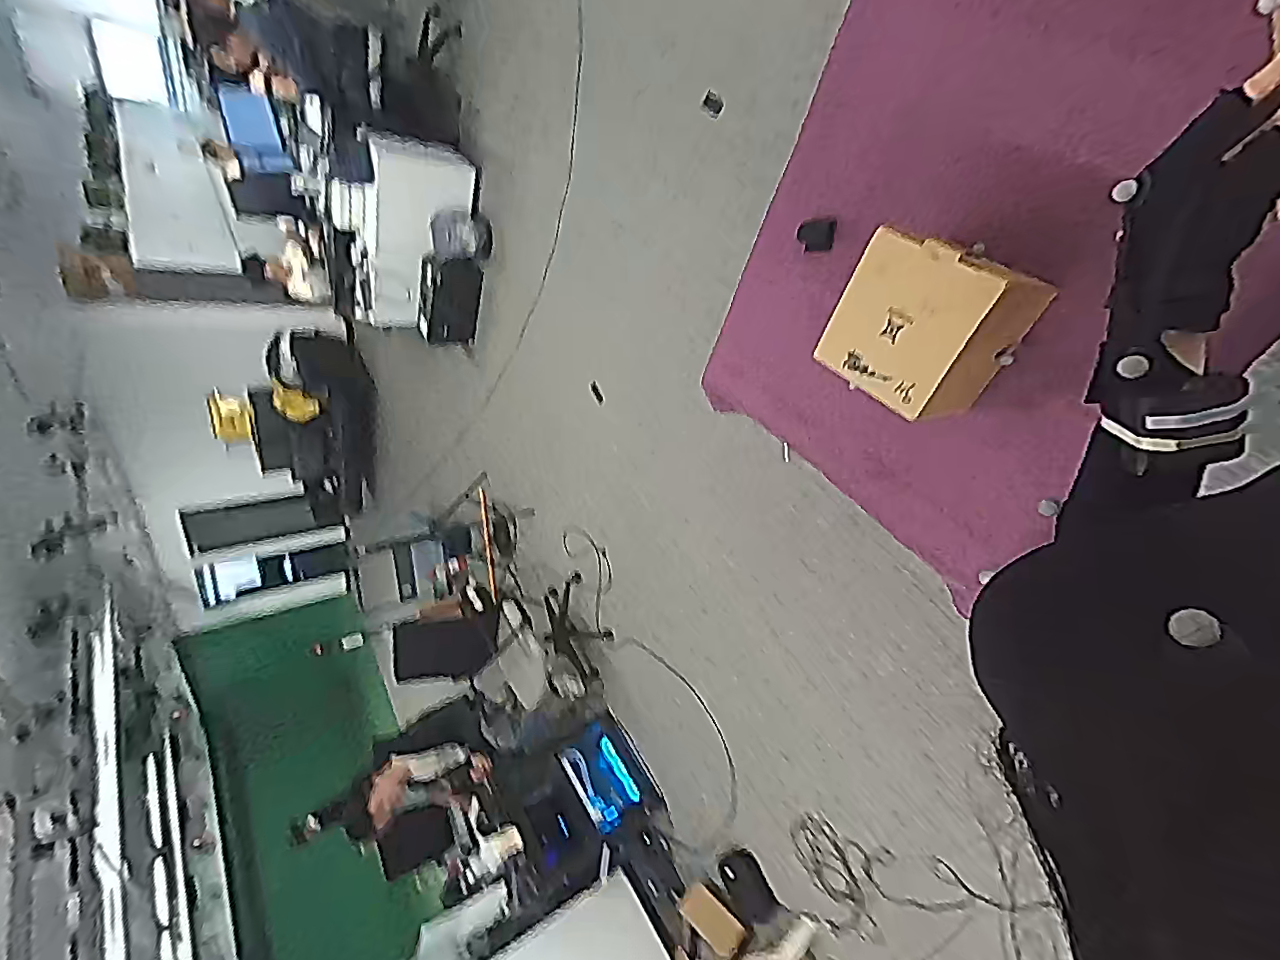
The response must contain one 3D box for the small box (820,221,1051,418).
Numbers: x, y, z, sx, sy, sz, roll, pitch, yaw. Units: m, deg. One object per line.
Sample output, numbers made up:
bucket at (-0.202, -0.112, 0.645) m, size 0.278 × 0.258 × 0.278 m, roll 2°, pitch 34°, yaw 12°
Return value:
small box at (0.373, -0.200, 0.684) m, size 0.168 × 0.176 × 0.179 m, roll 48°, pitch 133°, yaw 34°
